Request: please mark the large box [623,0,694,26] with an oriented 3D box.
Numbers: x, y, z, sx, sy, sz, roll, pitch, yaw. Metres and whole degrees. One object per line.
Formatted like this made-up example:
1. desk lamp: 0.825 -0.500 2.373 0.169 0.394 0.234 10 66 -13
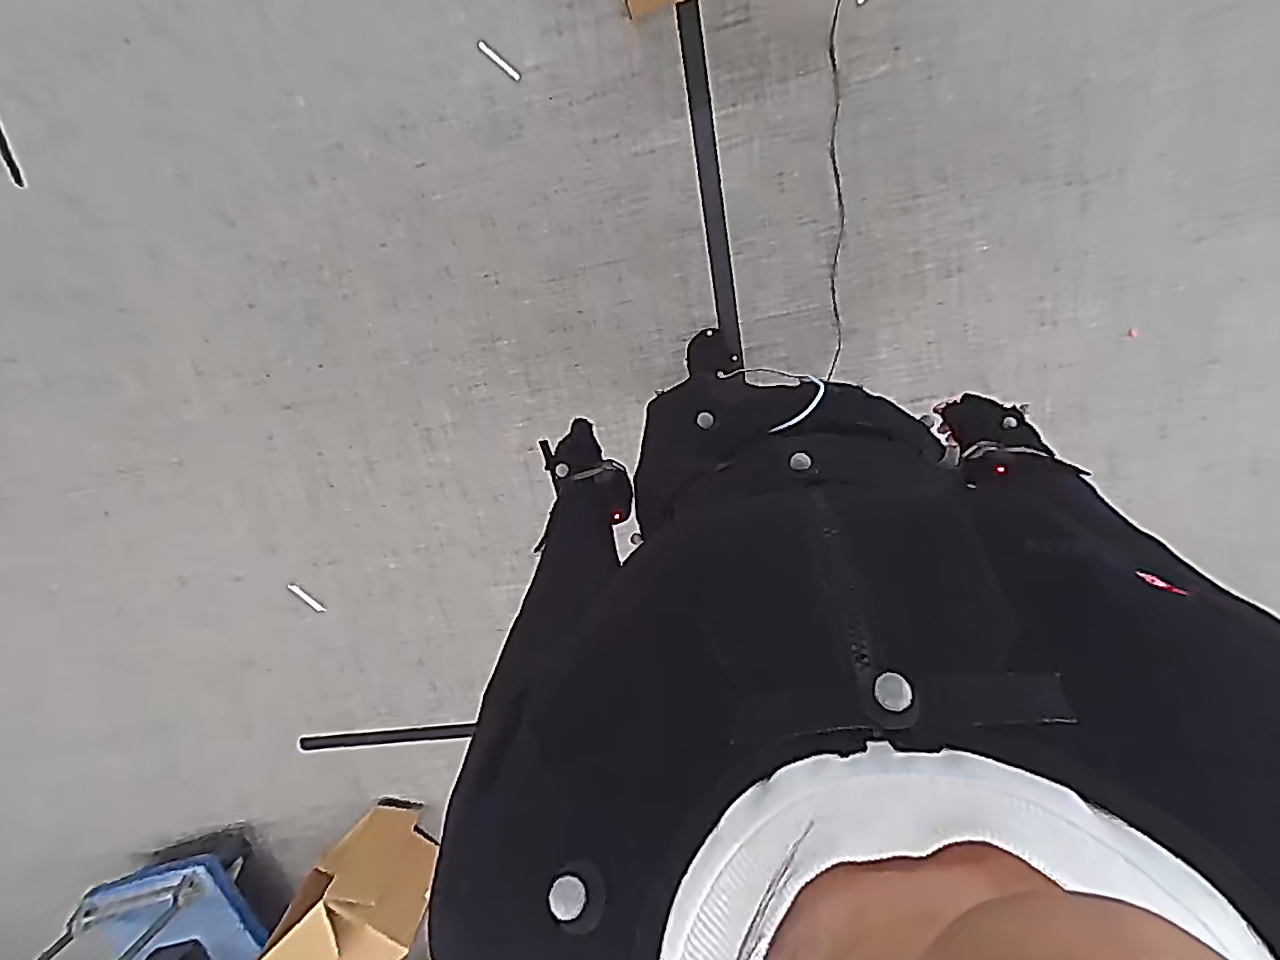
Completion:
1. large box: 0.104 -1.184 1.020 0.408 0.320 0.320 -16 100 11
